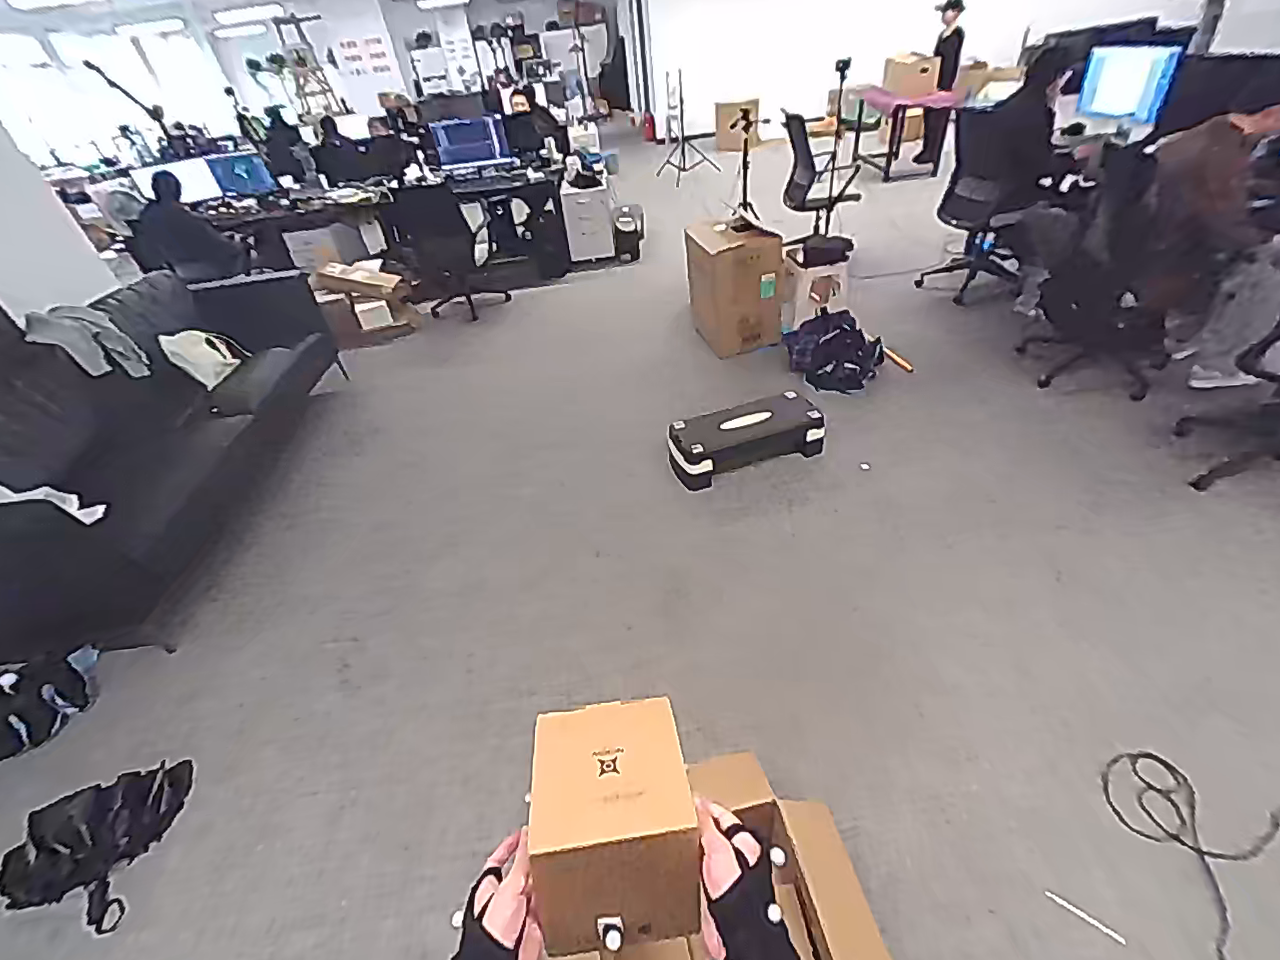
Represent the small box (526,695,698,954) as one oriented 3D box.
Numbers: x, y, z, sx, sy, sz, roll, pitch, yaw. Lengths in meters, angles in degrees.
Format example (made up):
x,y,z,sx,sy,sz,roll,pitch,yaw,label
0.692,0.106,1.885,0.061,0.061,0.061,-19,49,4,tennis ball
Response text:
x,y,z,sx,sy,sz,roll,pitch,yaw,label
-0.032,0.380,0.617,0.168,0.176,0.179,-6,22,-5,small box
